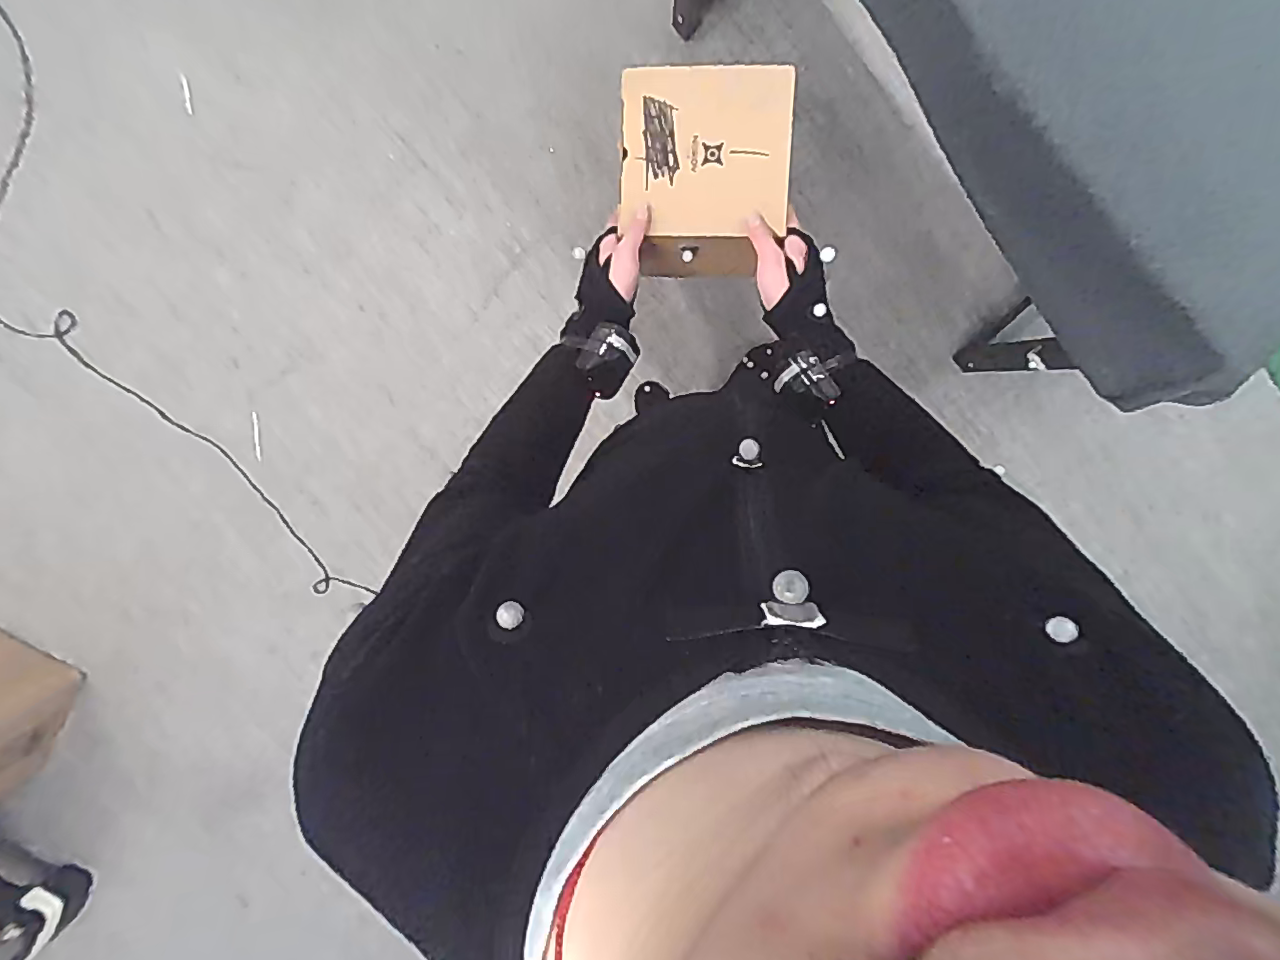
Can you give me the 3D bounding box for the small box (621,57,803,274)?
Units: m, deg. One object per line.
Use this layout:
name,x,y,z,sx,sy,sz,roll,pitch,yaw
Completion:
small box,0.075,-0.342,0.620,0.179,0.176,0.168,2,97,2
